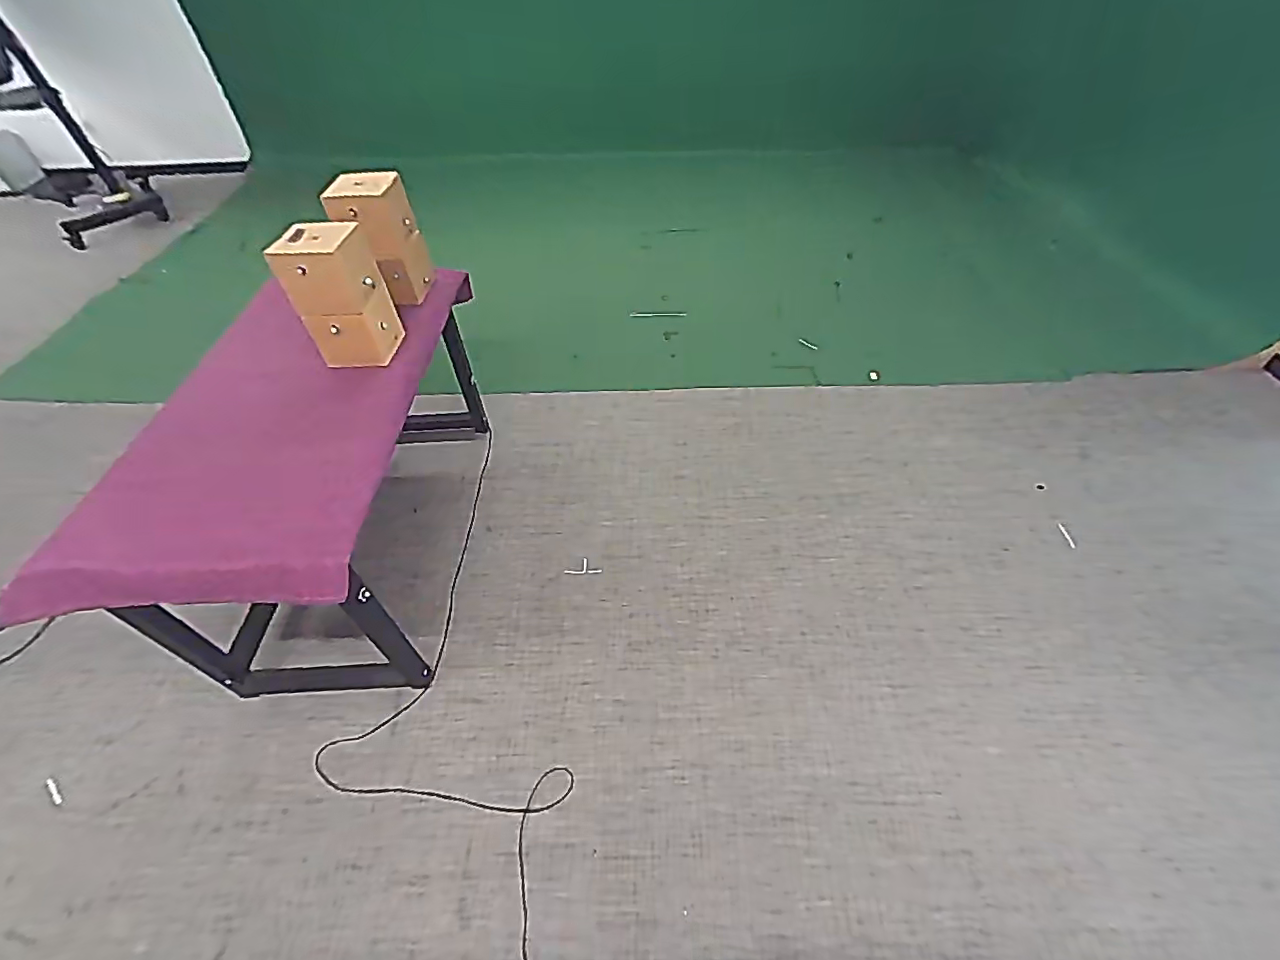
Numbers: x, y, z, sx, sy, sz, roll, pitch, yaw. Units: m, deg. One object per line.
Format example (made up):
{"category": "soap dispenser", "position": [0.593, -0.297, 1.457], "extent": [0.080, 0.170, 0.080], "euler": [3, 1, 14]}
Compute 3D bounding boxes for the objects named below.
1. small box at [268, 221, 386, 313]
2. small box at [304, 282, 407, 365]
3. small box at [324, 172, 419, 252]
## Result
{"category": "small box", "position": [-0.795, -0.546, 1.394], "extent": [0.179, 0.176, 0.168], "euler": [1, 49, 4]}
{"category": "small box", "position": [-0.785, -0.437, 1.516], "extent": [0.179, 0.176, 0.168], "euler": [-1, 49, 4]}
{"category": "small box", "position": [-0.788, -0.793, 1.606], "extent": [0.179, 0.176, 0.168], "euler": [-1, 50, 2]}
